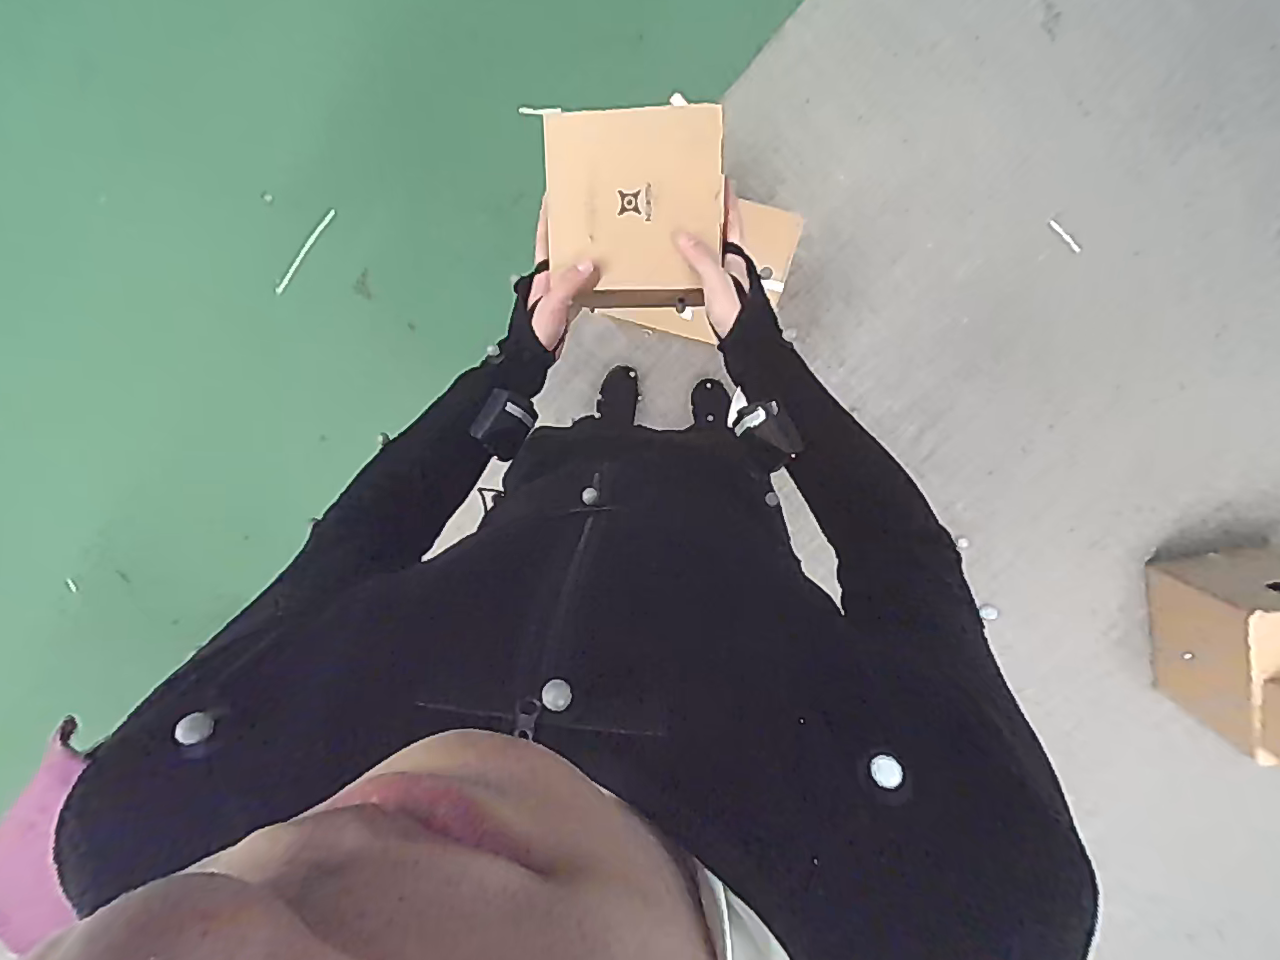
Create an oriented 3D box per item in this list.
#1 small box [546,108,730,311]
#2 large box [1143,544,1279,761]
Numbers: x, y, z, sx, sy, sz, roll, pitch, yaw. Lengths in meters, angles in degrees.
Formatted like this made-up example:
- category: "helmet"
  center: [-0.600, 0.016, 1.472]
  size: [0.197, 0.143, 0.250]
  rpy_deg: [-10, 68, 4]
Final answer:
- category: "small box"
  center: [0.005, -0.281, 0.598]
  size: [0.179, 0.176, 0.168]
  rpy_deg: [1, 102, 7]
- category: "large box"
  center: [1.580, 0.423, 1.376]
  size: [0.320, 0.320, 0.408]
  rpy_deg: [-13, 100, 10]
